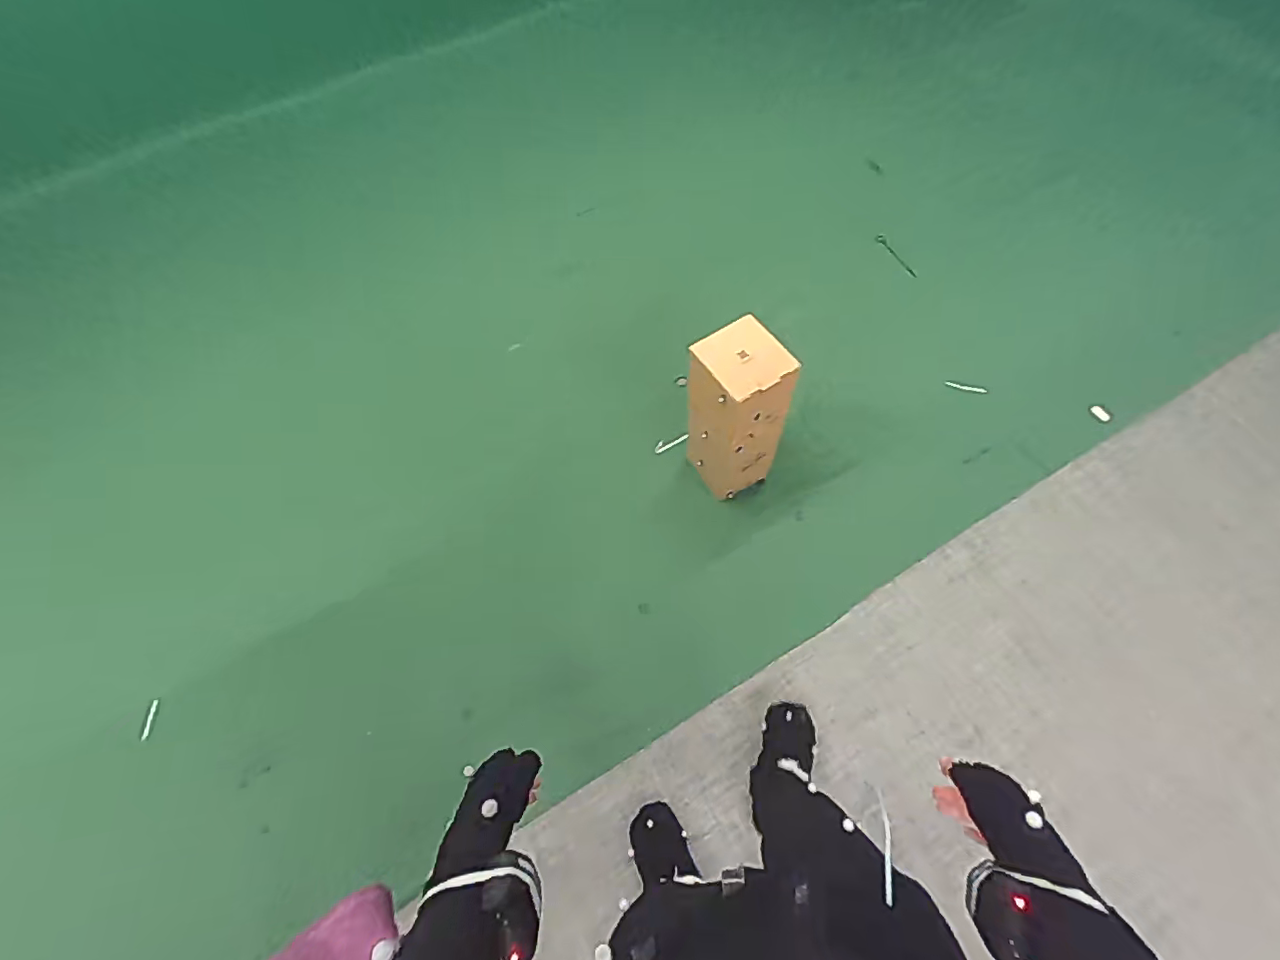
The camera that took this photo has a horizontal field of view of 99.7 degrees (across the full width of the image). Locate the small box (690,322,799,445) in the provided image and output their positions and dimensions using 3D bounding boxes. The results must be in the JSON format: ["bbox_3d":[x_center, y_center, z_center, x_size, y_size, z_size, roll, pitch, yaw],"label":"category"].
[{"bbox_3d":[0.223,-0.212,1.214,0.168,0.176,0.179,-31,66,-12],"label":"small box"}]

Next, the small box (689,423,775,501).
[{"bbox_3d":[0.249,-0.062,1.504,0.168,0.176,0.179,-28,65,-11],"label":"small box"}]
